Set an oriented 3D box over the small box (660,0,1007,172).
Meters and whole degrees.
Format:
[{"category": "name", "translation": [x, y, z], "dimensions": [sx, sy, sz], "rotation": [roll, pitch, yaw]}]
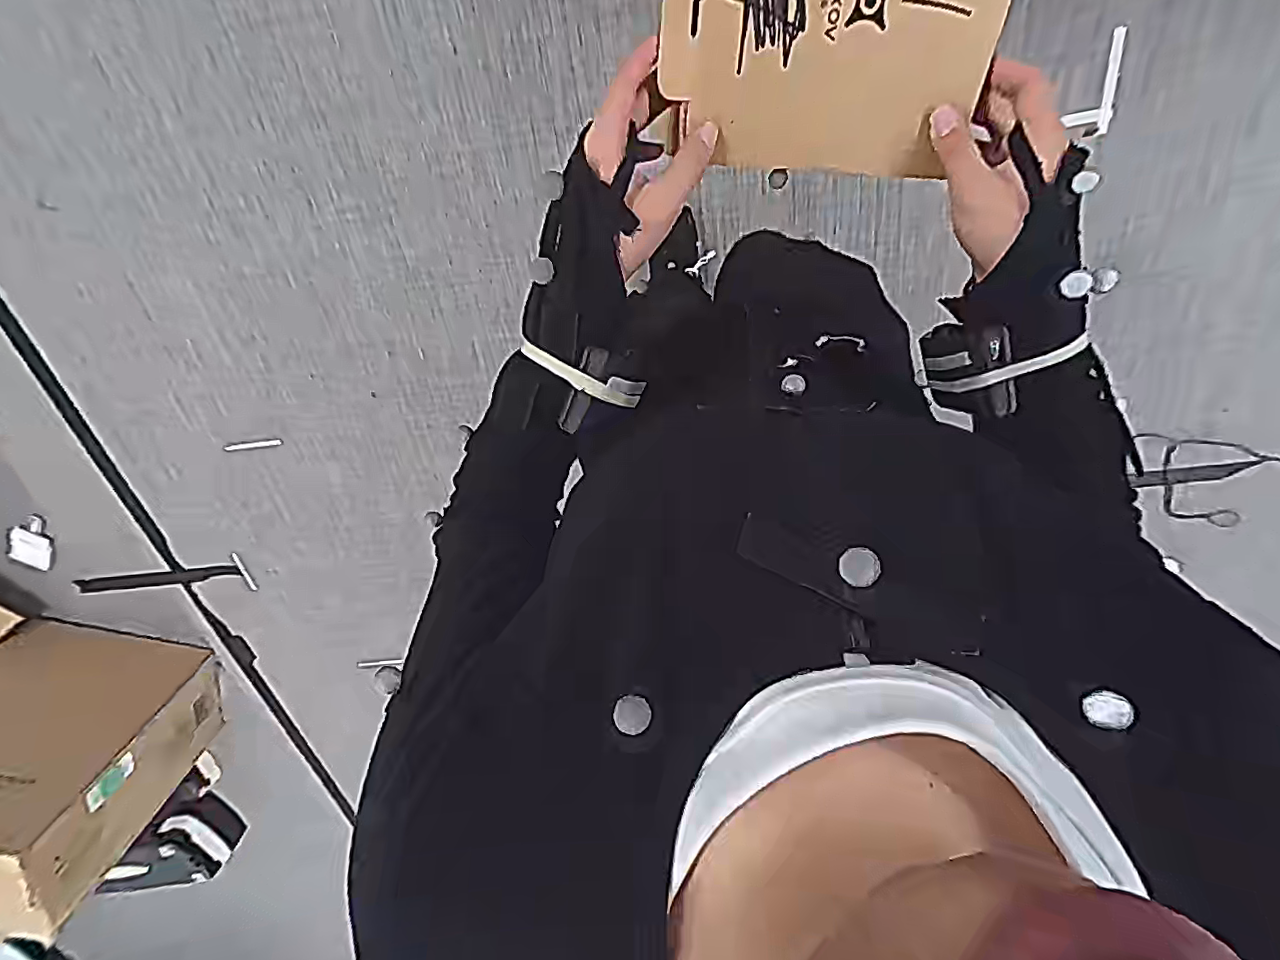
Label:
[{"category": "small box", "translation": [0.110, -0.309, 0.356], "dimensions": [0.179, 0.176, 0.168], "rotation": [1, 124, -6]}]
